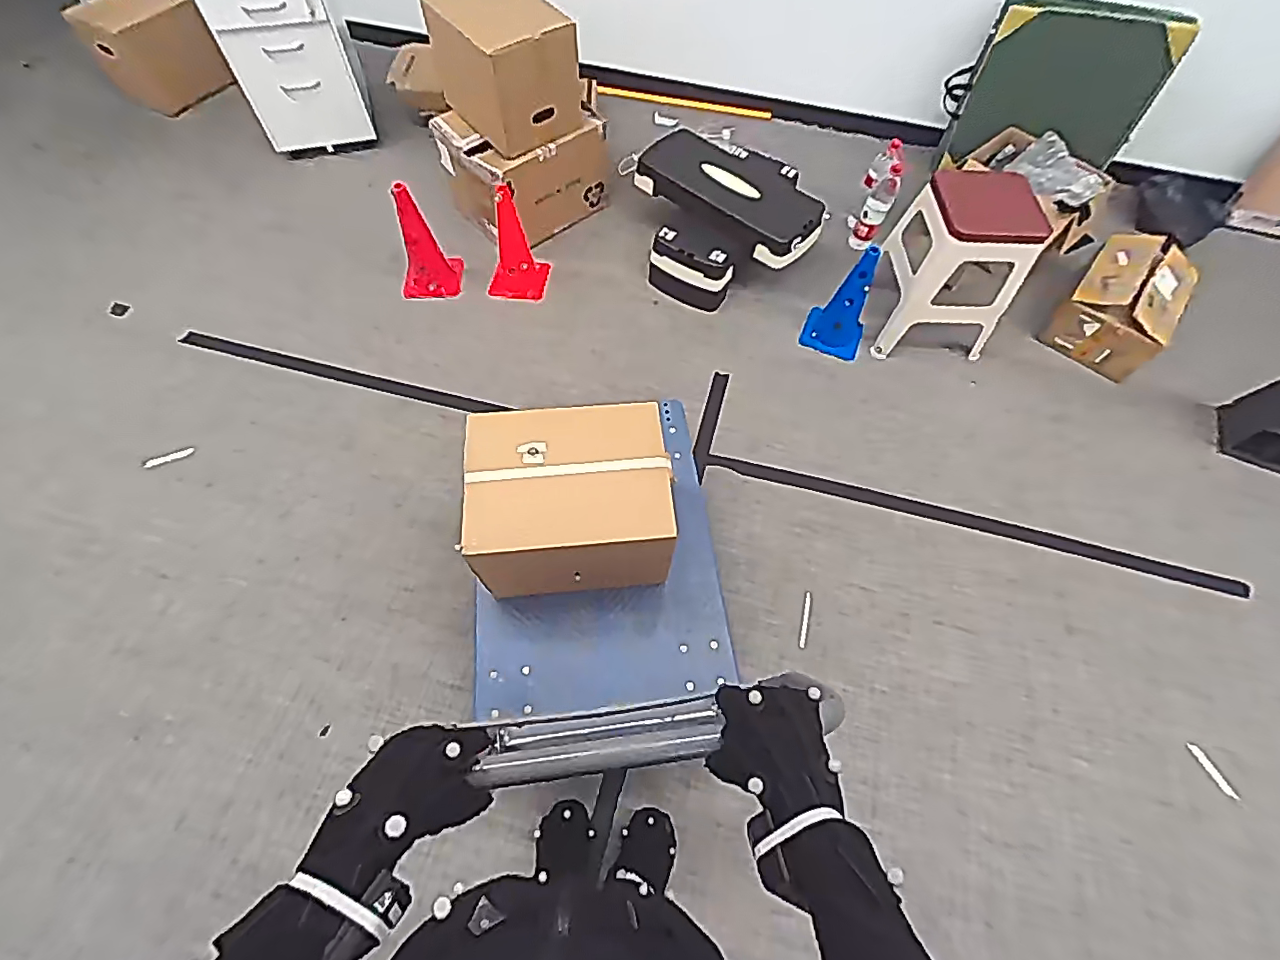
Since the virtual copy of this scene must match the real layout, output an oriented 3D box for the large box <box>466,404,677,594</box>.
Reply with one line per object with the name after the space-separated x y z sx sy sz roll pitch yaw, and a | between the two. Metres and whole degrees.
-0.144 0.055 1.215 0.408 0.320 0.320 -4 63 -4 | large box
